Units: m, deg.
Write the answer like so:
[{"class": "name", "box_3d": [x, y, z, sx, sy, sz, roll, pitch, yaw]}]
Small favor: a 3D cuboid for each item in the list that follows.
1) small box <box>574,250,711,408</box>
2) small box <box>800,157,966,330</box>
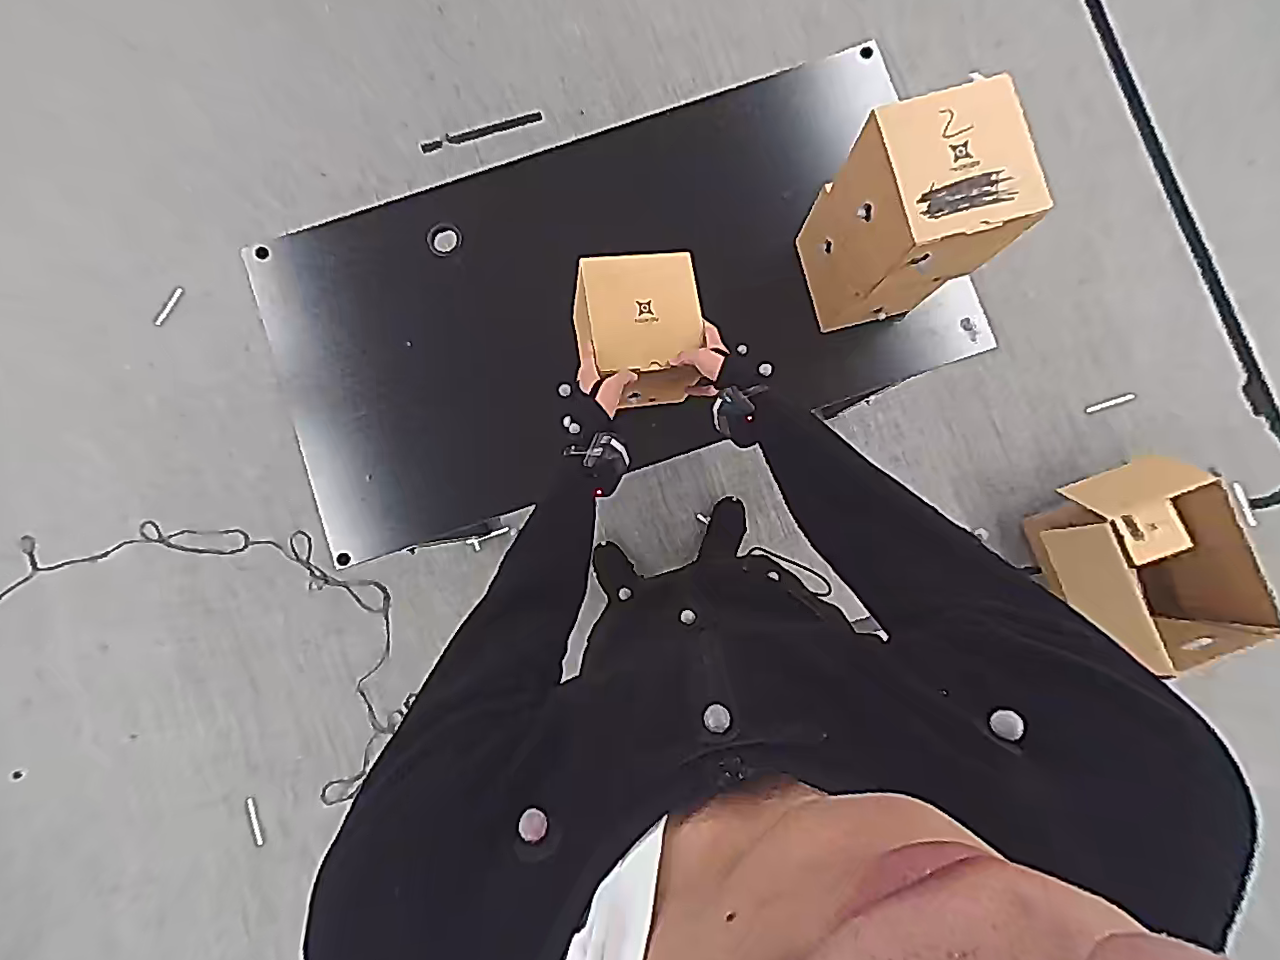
[{"class": "small box", "box_3d": [-0.007, -0.226, 0.833, 0.168, 0.176, 0.179, -8, 81, -12]}, {"class": "small box", "box_3d": [0.372, -0.364, 0.862, 0.168, 0.176, 0.179, -14, 86, 1]}]
